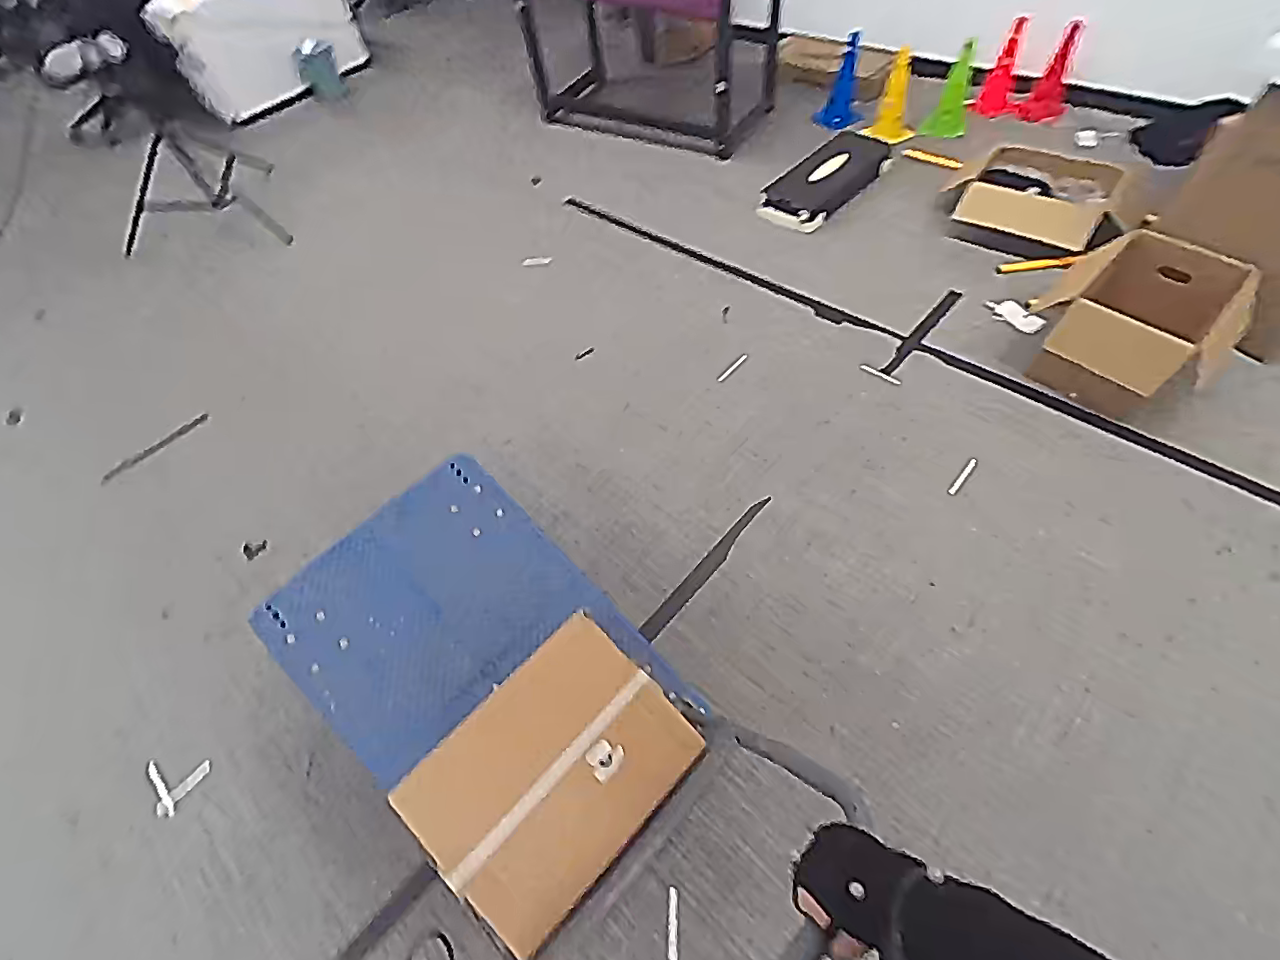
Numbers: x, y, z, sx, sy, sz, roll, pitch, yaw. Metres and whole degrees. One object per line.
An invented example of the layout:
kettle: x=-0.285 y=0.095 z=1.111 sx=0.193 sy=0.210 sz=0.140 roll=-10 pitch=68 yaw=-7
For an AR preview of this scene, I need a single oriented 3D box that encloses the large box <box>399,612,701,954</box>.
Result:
large box: x=-0.156 y=0.518 z=1.015 sx=0.320 sy=0.320 sz=0.408 roll=44 pitch=69 yaw=7
